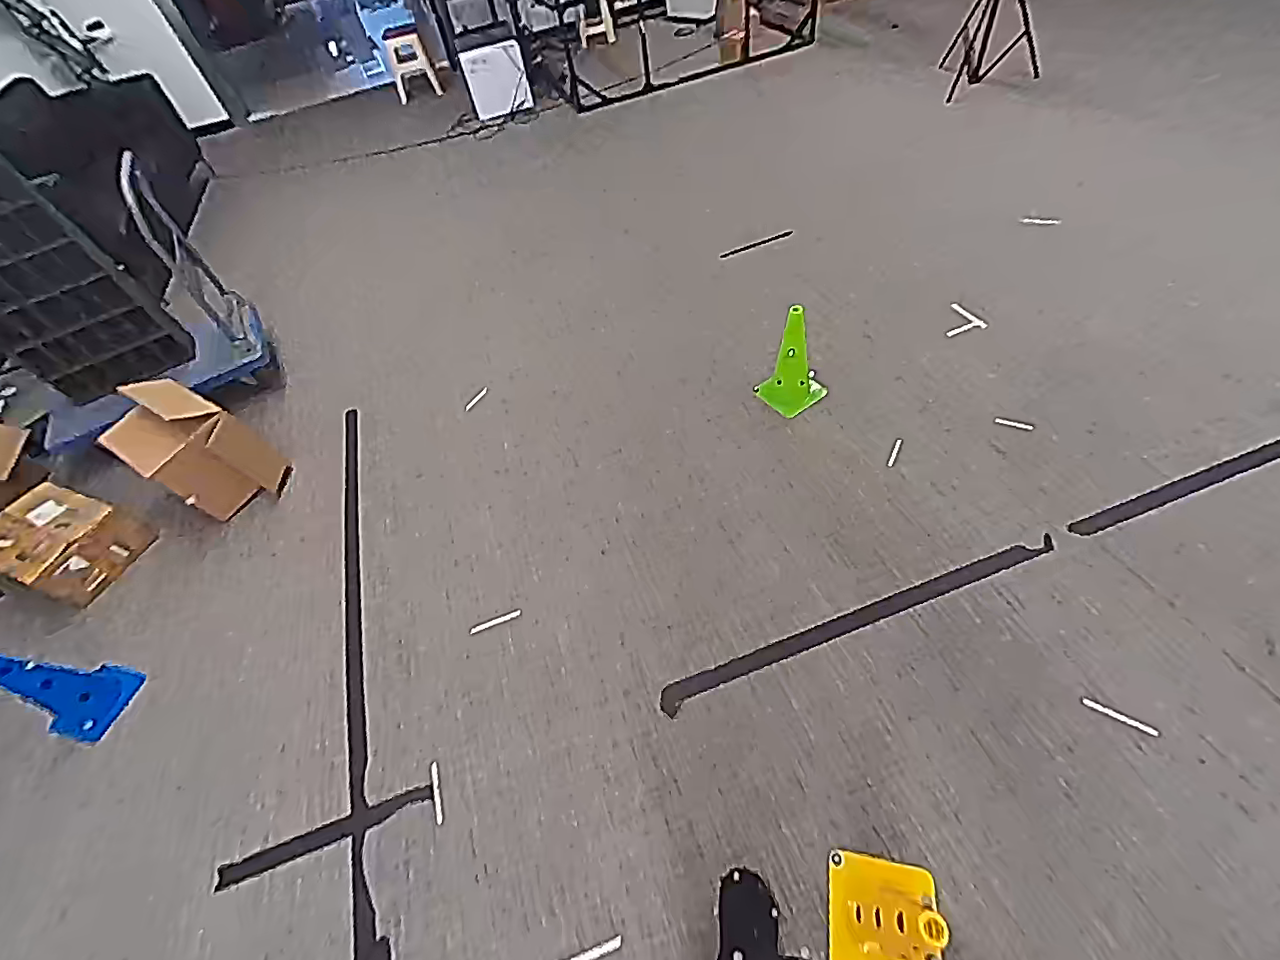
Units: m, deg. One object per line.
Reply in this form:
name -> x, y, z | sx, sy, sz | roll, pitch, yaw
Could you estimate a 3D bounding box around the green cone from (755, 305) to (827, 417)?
green cone -> 0.529, -0.428, 1.846 | 0.202, 0.368, 0.200 | -32, 54, -16
